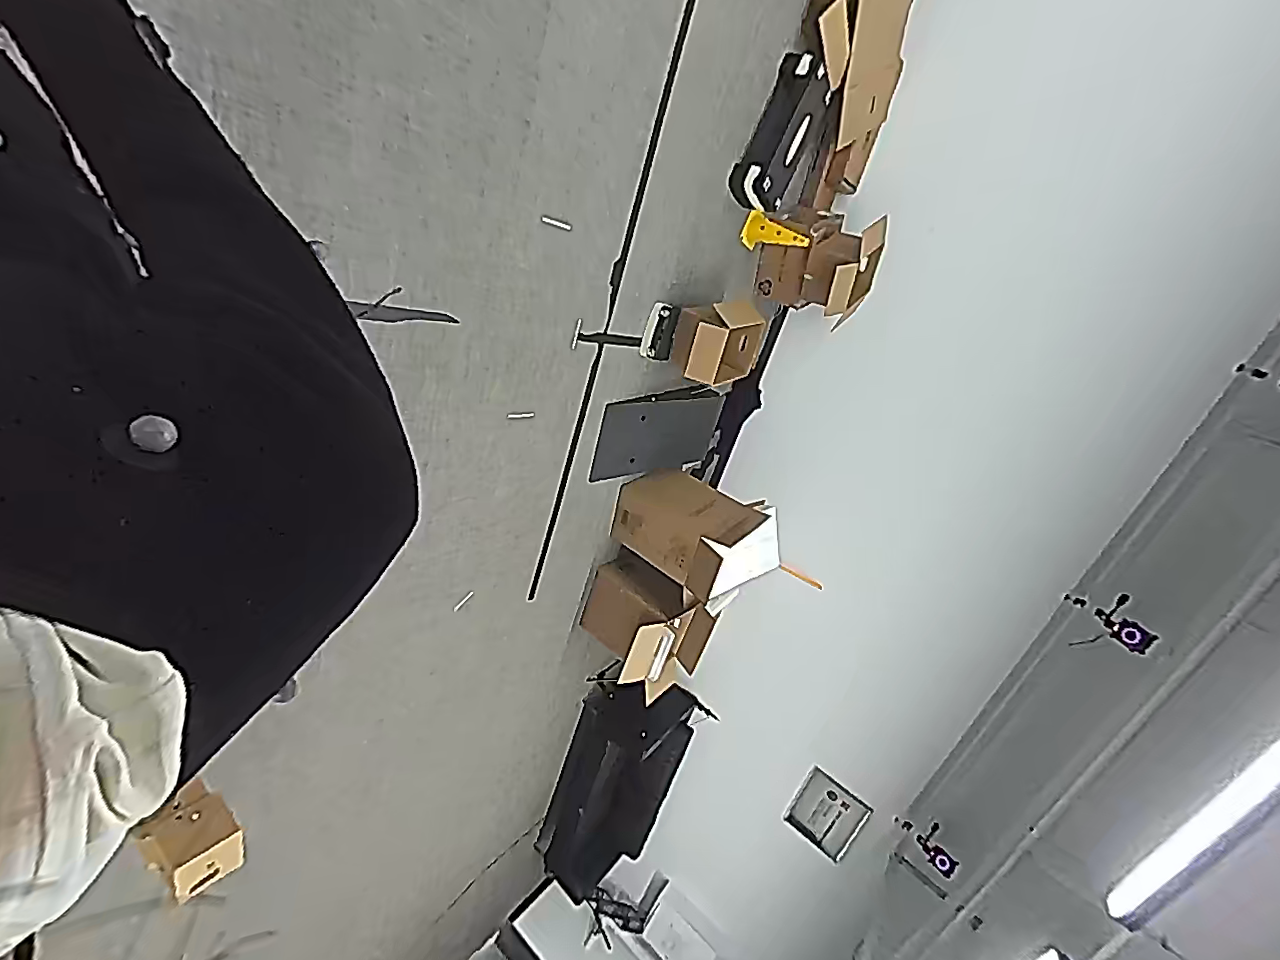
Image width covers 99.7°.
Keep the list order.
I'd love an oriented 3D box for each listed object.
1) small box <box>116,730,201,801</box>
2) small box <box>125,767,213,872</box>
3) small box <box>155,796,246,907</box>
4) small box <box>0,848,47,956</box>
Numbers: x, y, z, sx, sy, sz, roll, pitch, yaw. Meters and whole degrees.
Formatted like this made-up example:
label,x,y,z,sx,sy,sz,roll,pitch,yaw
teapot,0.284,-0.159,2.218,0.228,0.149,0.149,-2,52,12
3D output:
label,x,y,z,sx,sy,sz,roll,pitch,yaw
small box,-1.554,0.957,1.751,0.168,0.176,0.179,-21,134,-51
small box,-1.437,1.037,1.668,0.179,0.176,0.168,-22,135,-50
small box,-1.295,1.088,1.597,0.168,0.176,0.179,-19,132,-54
small box,-1.650,1.090,1.366,0.179,0.176,0.168,-8,124,-56
